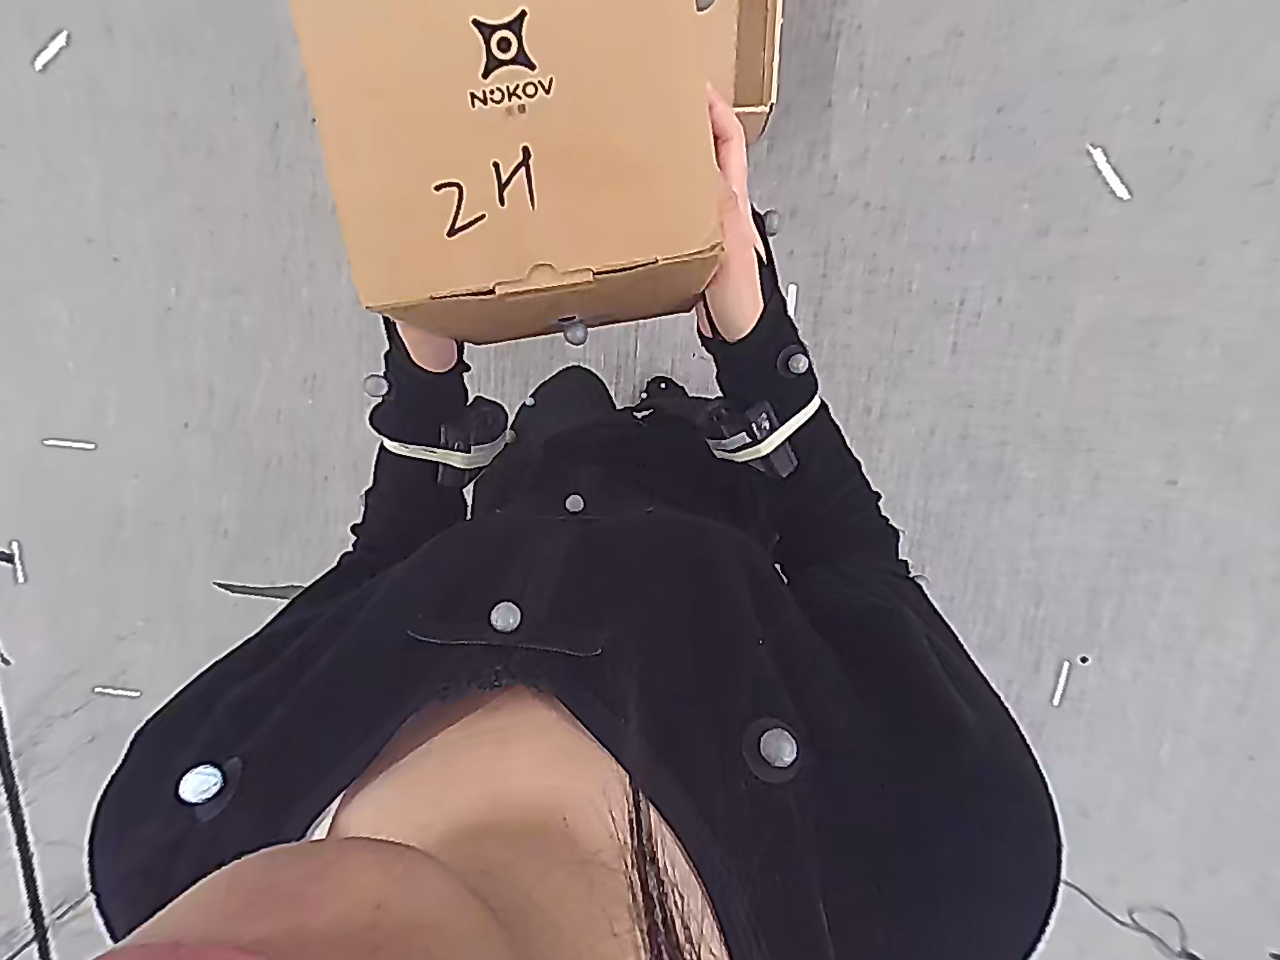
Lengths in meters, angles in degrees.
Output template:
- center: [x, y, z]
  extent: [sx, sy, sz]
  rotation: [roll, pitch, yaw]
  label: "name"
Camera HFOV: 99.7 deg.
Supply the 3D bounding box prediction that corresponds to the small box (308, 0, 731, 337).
- center: [-0.052, -0.189, 0.305]
  extent: [0.168, 0.176, 0.179]
  rotation: [-9, 99, 1]
  label: "small box"
